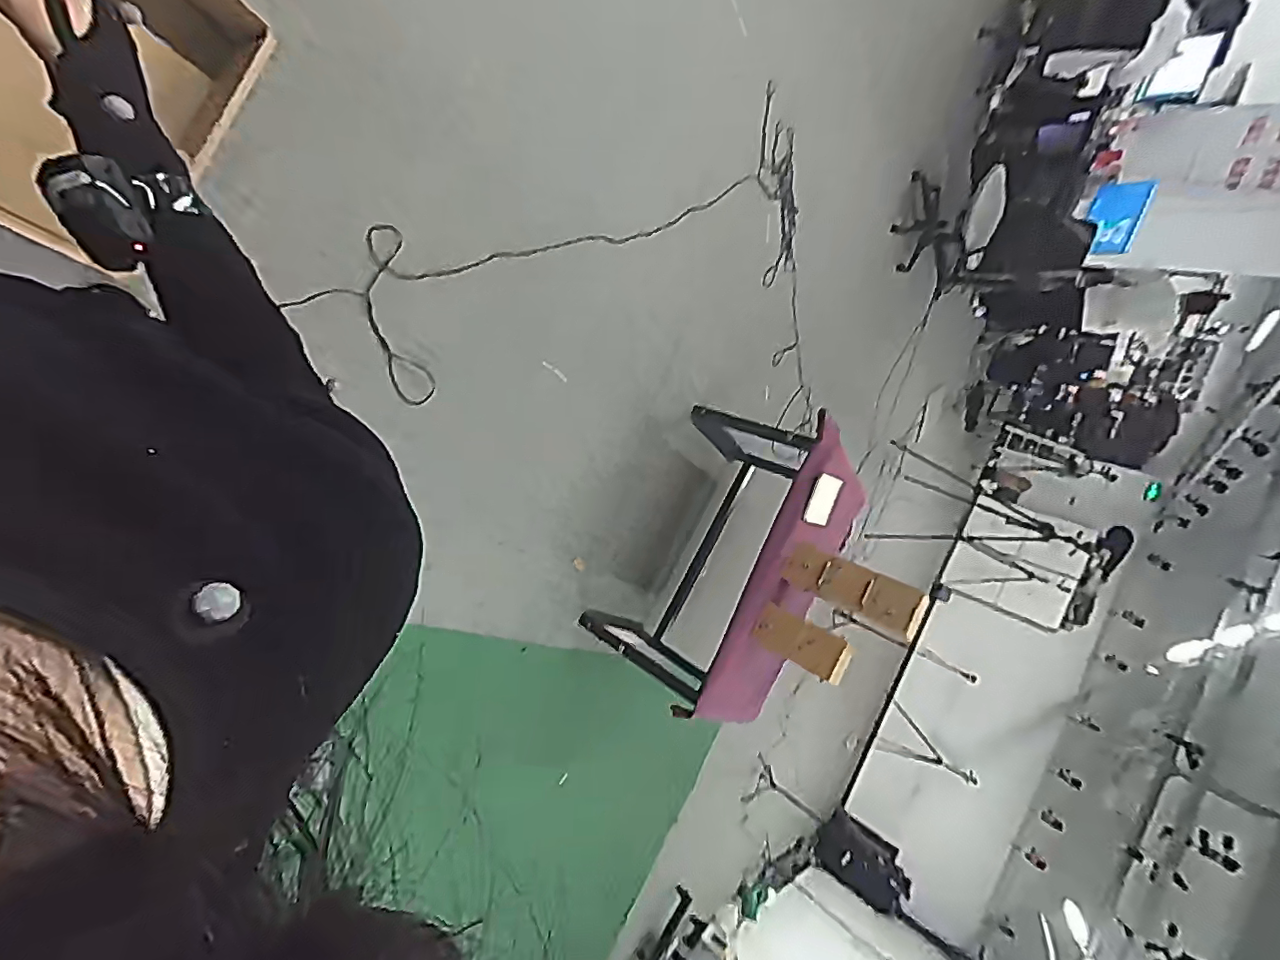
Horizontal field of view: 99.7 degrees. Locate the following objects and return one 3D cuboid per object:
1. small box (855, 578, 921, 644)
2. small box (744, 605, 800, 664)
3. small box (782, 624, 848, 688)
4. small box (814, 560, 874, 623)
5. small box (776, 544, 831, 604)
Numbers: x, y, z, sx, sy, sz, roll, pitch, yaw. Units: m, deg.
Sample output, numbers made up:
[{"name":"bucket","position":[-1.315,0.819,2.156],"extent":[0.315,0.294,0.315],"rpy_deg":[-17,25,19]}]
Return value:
[{"name":"small box","position":[0.909,0.477,1.984],"extent":[0.168,0.176,0.179],"rpy_deg":[-60,143,-7]},{"name":"small box","position":[0.542,0.615,2.153],"extent":[0.179,0.176,0.168],"rpy_deg":[38,78,-52]},{"name":"small box","position":[0.666,0.668,2.061],"extent":[0.168,0.176,0.179],"rpy_deg":[-61,143,-7]},{"name":"small box","position":[0.792,0.427,2.087],"extent":[0.168,0.176,0.179],"rpy_deg":[-61,143,-7]},{"name":"small box","position":[0.675,0.377,2.191],"extent":[0.179,0.176,0.168],"rpy_deg":[38,79,-51]}]
